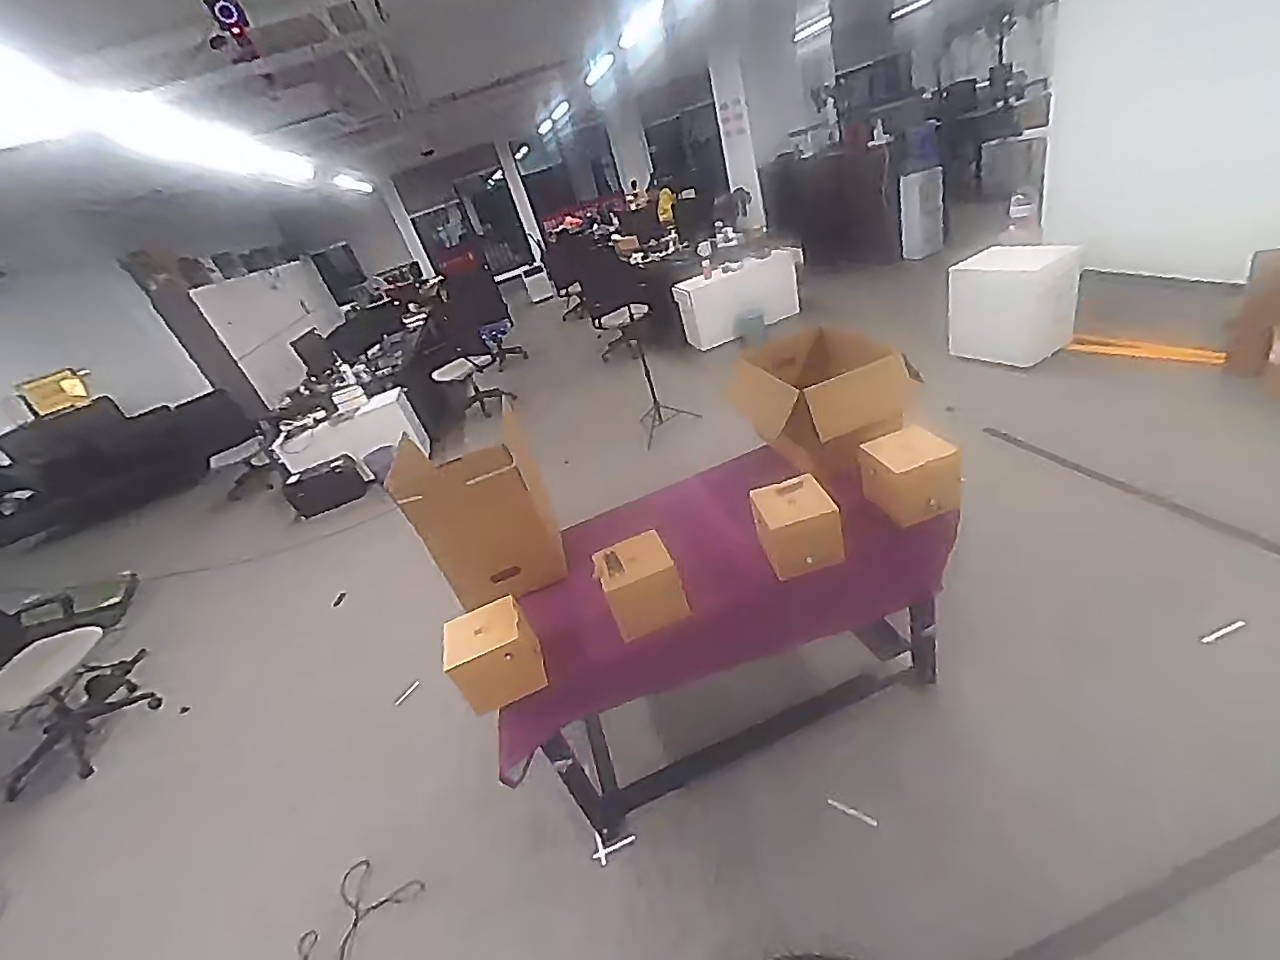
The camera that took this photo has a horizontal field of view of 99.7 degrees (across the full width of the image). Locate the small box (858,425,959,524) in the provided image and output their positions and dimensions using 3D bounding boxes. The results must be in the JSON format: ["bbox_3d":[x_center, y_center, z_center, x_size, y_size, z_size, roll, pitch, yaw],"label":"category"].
[{"bbox_3d":[0.687,-0.014,1.389,0.168,0.176,0.179,-21,29,-1],"label":"small box"}]

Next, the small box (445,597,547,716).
[{"bbox_3d":[-0.339,0.418,1.276,0.179,0.176,0.168,-23,29,-9],"label":"small box"}]
